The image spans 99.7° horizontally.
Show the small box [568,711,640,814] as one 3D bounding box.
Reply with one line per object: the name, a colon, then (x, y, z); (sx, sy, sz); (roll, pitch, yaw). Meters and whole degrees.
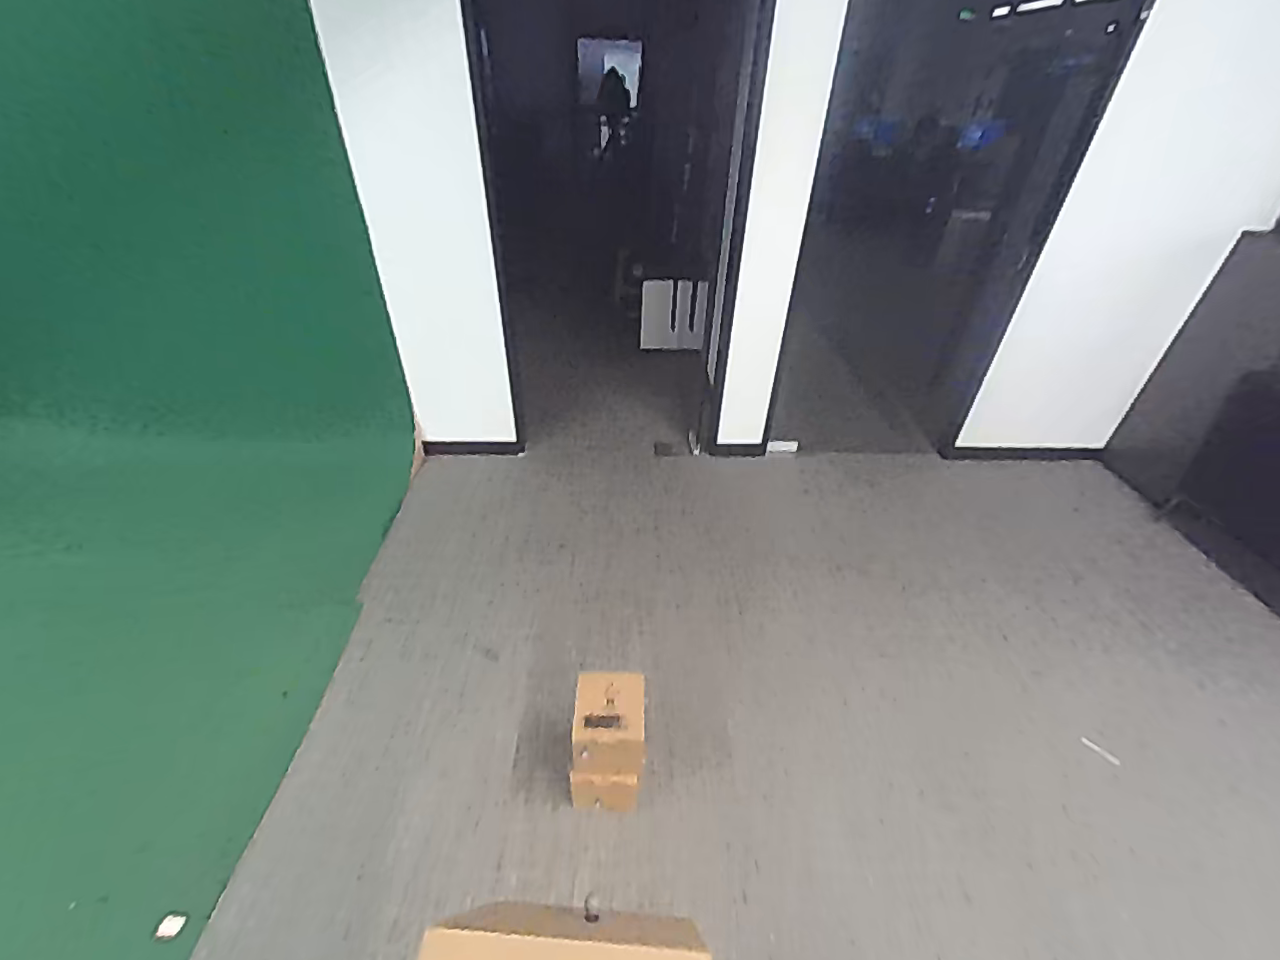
small box: (-0.094, 0.740, 1.419); (0.168, 0.176, 0.179); (5, 37, 2)
